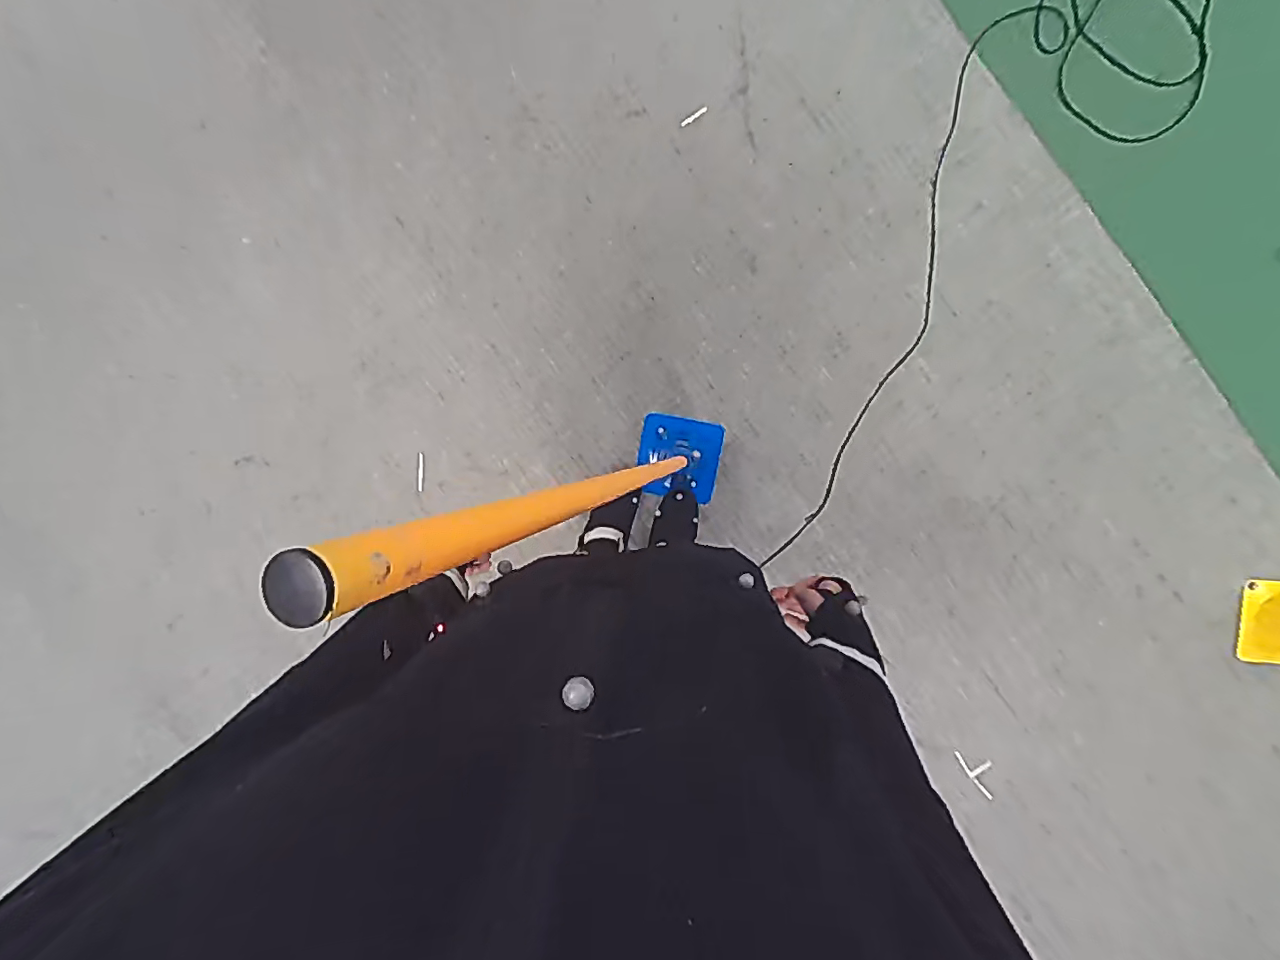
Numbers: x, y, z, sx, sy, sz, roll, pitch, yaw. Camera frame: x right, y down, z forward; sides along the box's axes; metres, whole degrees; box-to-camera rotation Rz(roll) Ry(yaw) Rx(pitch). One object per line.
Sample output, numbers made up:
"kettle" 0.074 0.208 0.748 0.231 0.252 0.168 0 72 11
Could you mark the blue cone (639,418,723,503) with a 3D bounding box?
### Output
"blue cone" 0.086 -0.037 1.136 0.193 0.380 0.192 10 94 3
